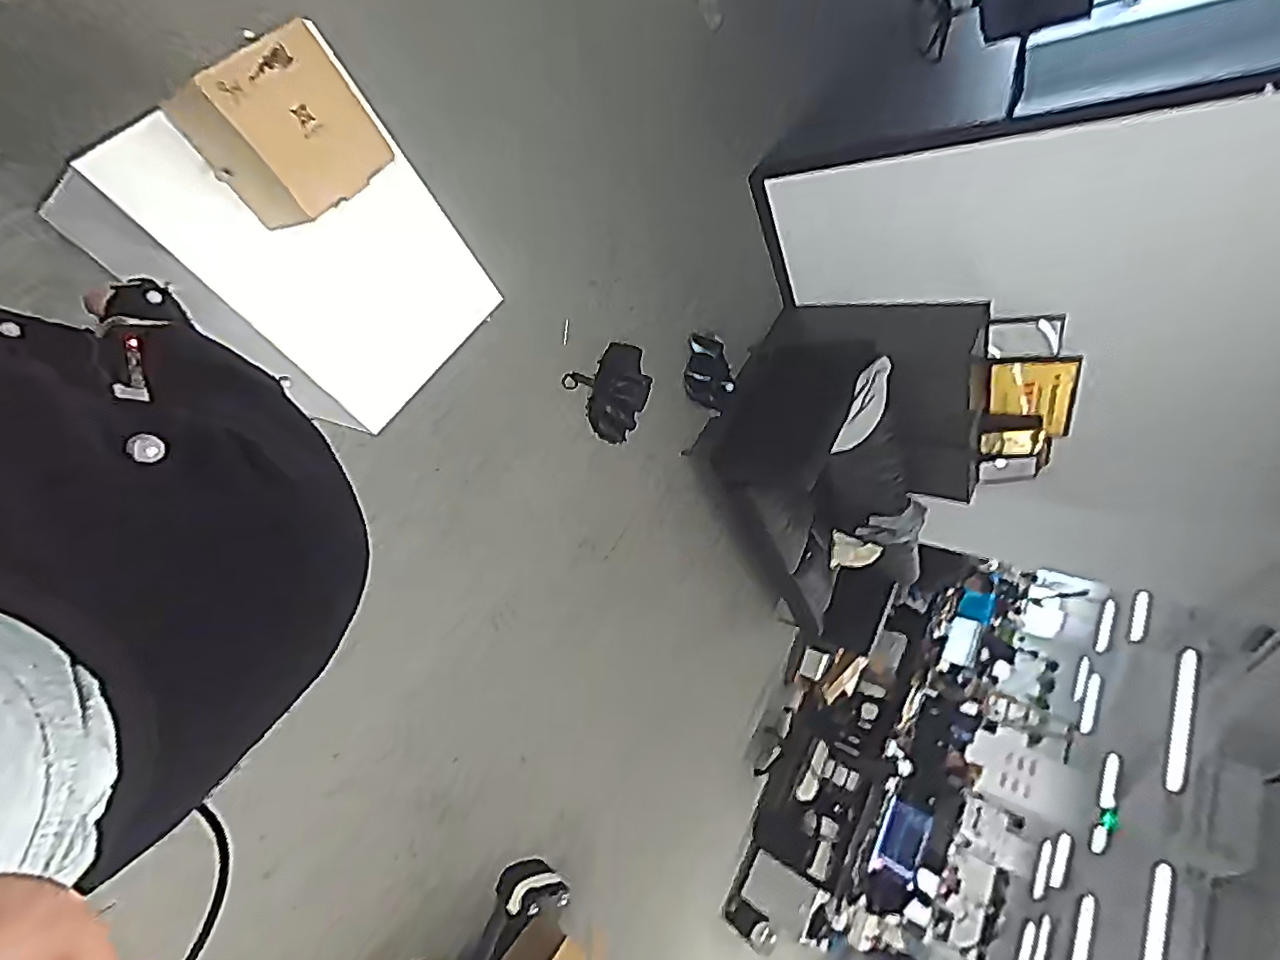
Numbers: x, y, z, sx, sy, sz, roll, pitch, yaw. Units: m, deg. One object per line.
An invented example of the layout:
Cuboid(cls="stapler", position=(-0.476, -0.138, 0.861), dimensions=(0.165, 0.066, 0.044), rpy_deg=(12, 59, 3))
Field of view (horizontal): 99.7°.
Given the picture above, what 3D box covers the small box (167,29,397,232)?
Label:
Cuboid(cls="small box", position=(-0.486, -0.465, 0.744), dimensions=(0.168, 0.176, 0.179), rpy_deg=(-56, 139, -23))
